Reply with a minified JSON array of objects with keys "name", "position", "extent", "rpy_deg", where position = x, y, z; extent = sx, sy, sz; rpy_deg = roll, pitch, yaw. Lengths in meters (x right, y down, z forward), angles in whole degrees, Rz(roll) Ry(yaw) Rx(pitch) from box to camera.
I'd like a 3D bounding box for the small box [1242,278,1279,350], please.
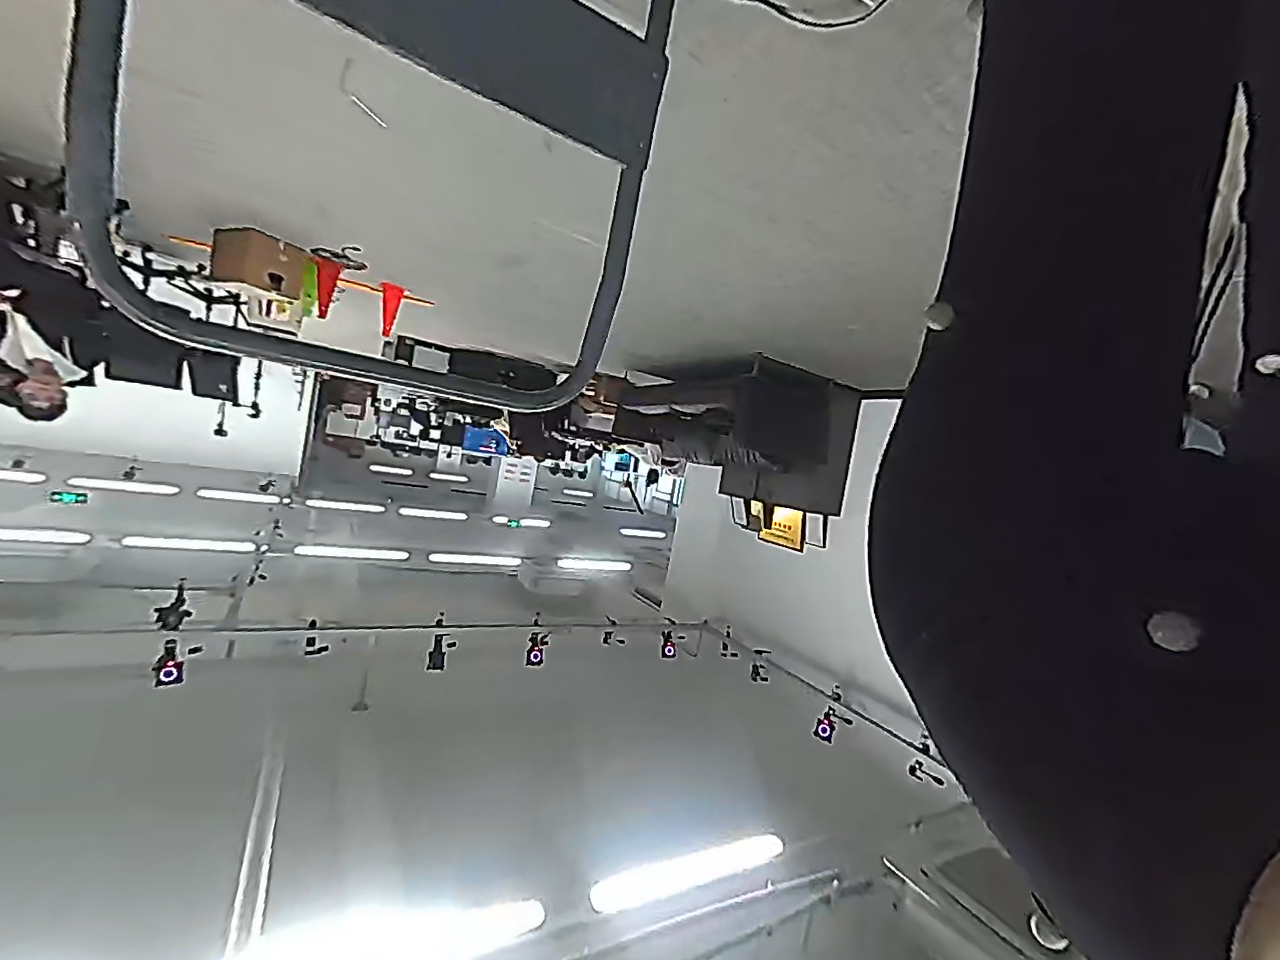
[{"name":"small box","position":[1.721,-0.436,1.381],"extent":[0.179,0.176,0.168],"rpy_deg":[11,-179,21]}]
